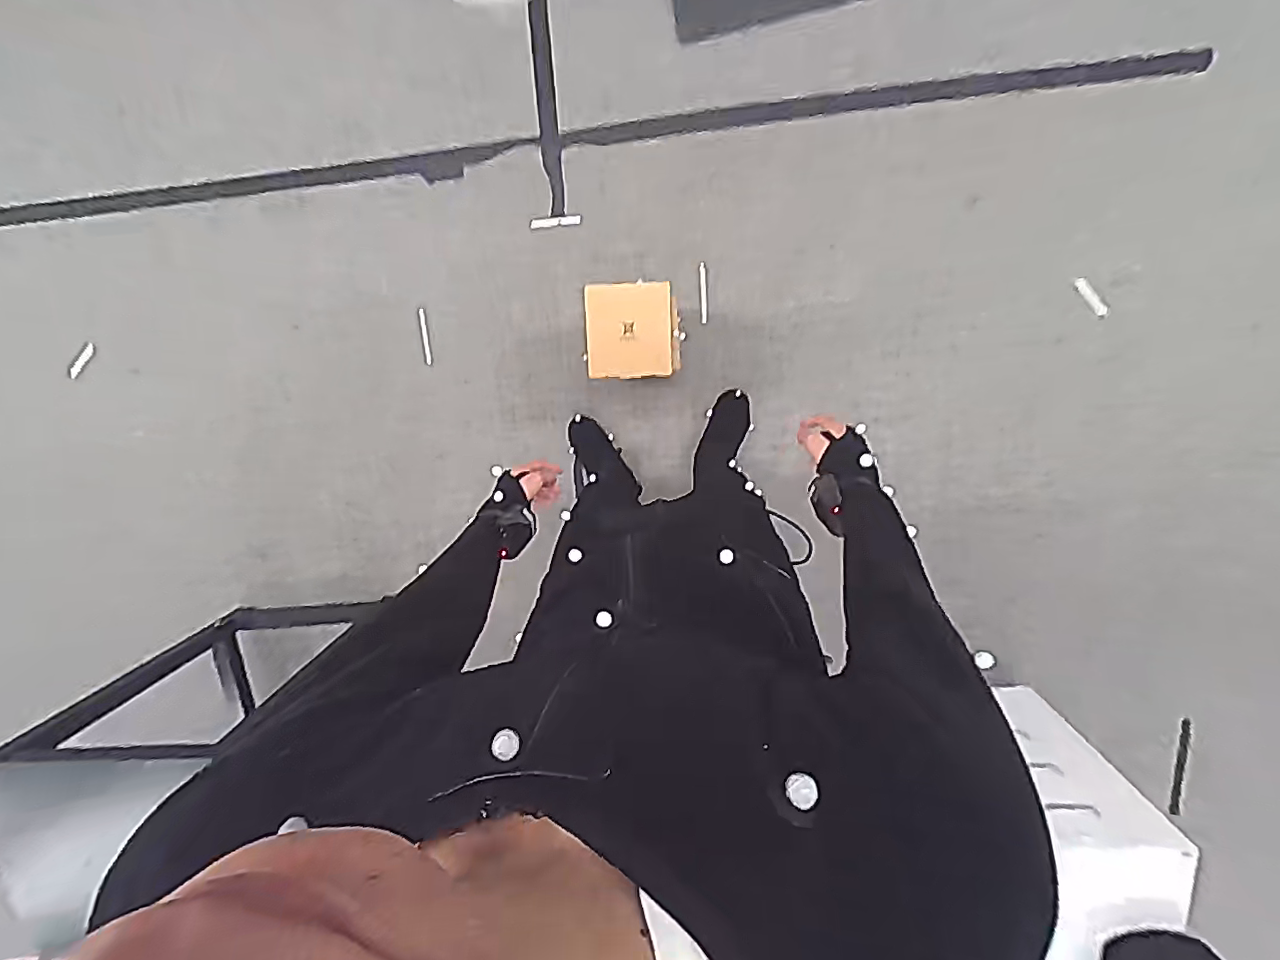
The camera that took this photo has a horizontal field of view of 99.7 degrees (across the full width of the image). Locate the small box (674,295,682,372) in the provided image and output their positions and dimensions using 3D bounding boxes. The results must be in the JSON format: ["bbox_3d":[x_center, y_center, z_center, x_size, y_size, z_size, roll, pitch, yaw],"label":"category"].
[{"bbox_3d":[0.008,-0.334,1.272,0.179,0.176,0.168,-4,103,4],"label":"small box"}]

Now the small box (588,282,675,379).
[{"bbox_3d":[-0.013,-0.303,1.113,0.168,0.176,0.179,-2,104,4],"label":"small box"}]
